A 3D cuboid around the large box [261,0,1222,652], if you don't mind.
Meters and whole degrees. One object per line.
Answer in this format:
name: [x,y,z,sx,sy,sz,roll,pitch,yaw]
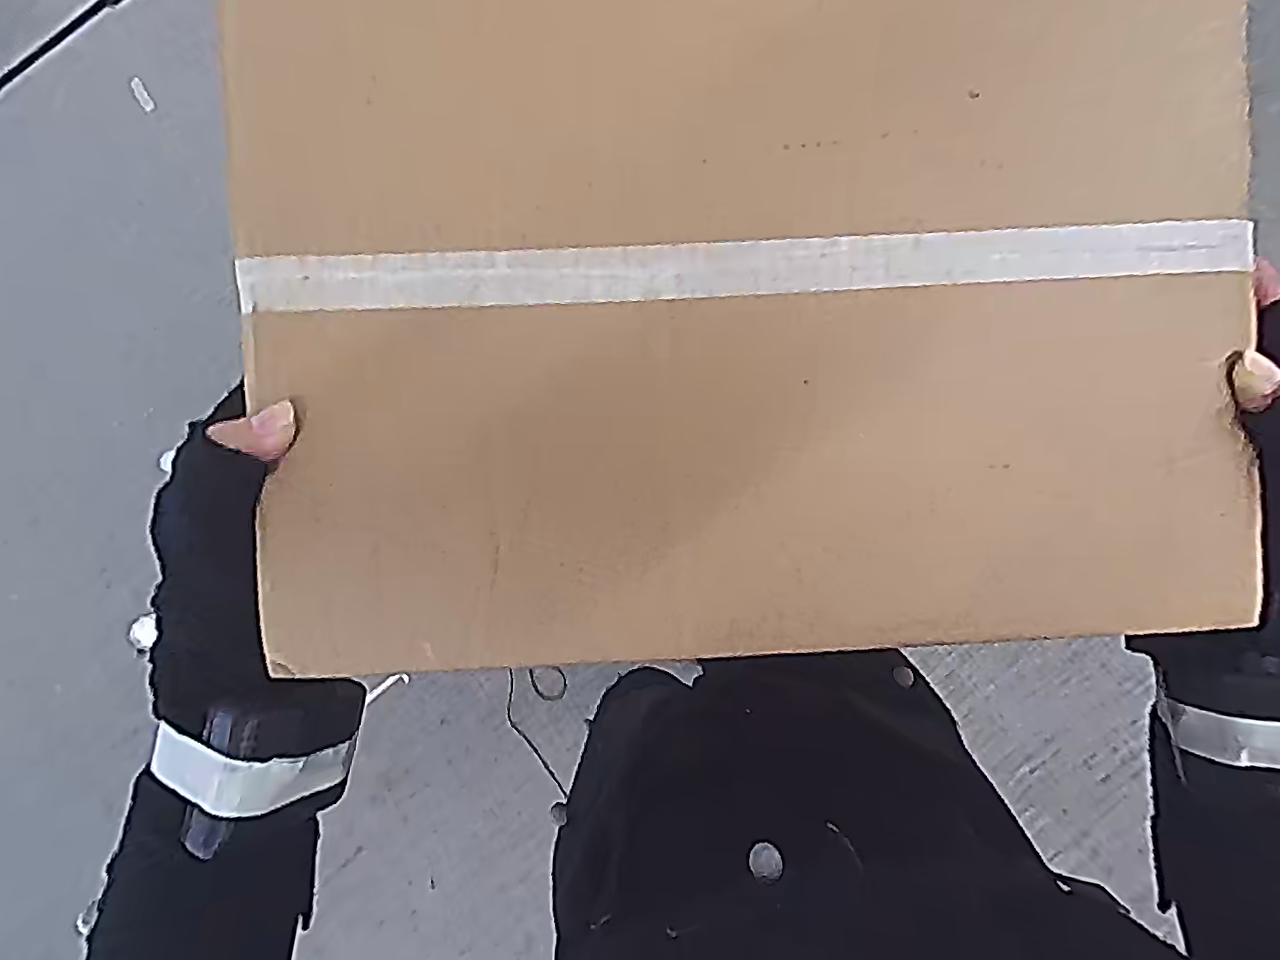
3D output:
large box: [0.046,-0.094,0.378,0.408,0.320,0.320,-2,91,-1]
